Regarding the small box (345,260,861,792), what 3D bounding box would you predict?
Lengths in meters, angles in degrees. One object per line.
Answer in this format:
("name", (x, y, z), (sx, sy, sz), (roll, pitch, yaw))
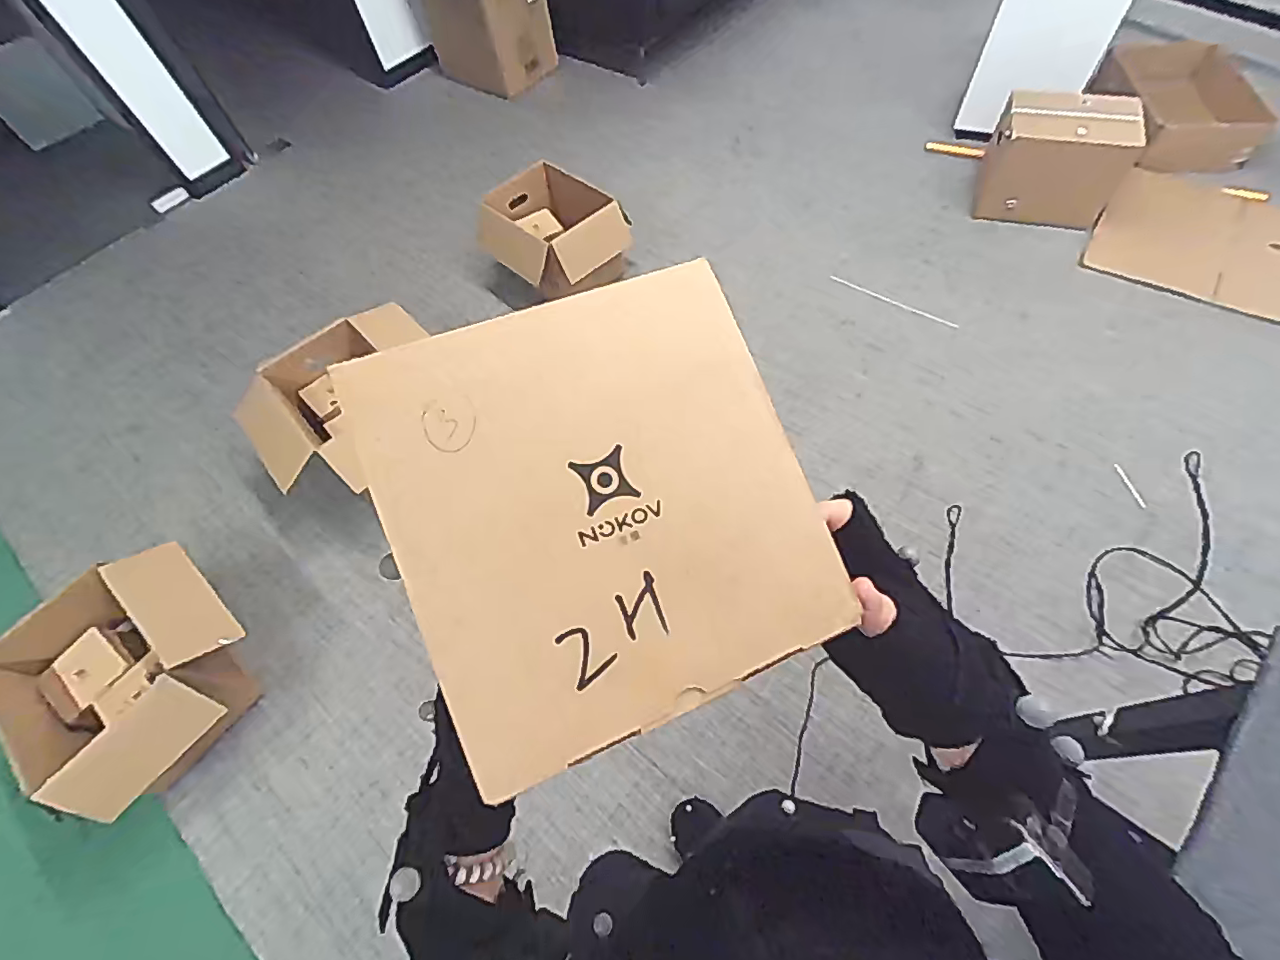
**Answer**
("small box", (-0.026, 0.019, 0.294), (0.168, 0.176, 0.179), (-20, 85, -13))
